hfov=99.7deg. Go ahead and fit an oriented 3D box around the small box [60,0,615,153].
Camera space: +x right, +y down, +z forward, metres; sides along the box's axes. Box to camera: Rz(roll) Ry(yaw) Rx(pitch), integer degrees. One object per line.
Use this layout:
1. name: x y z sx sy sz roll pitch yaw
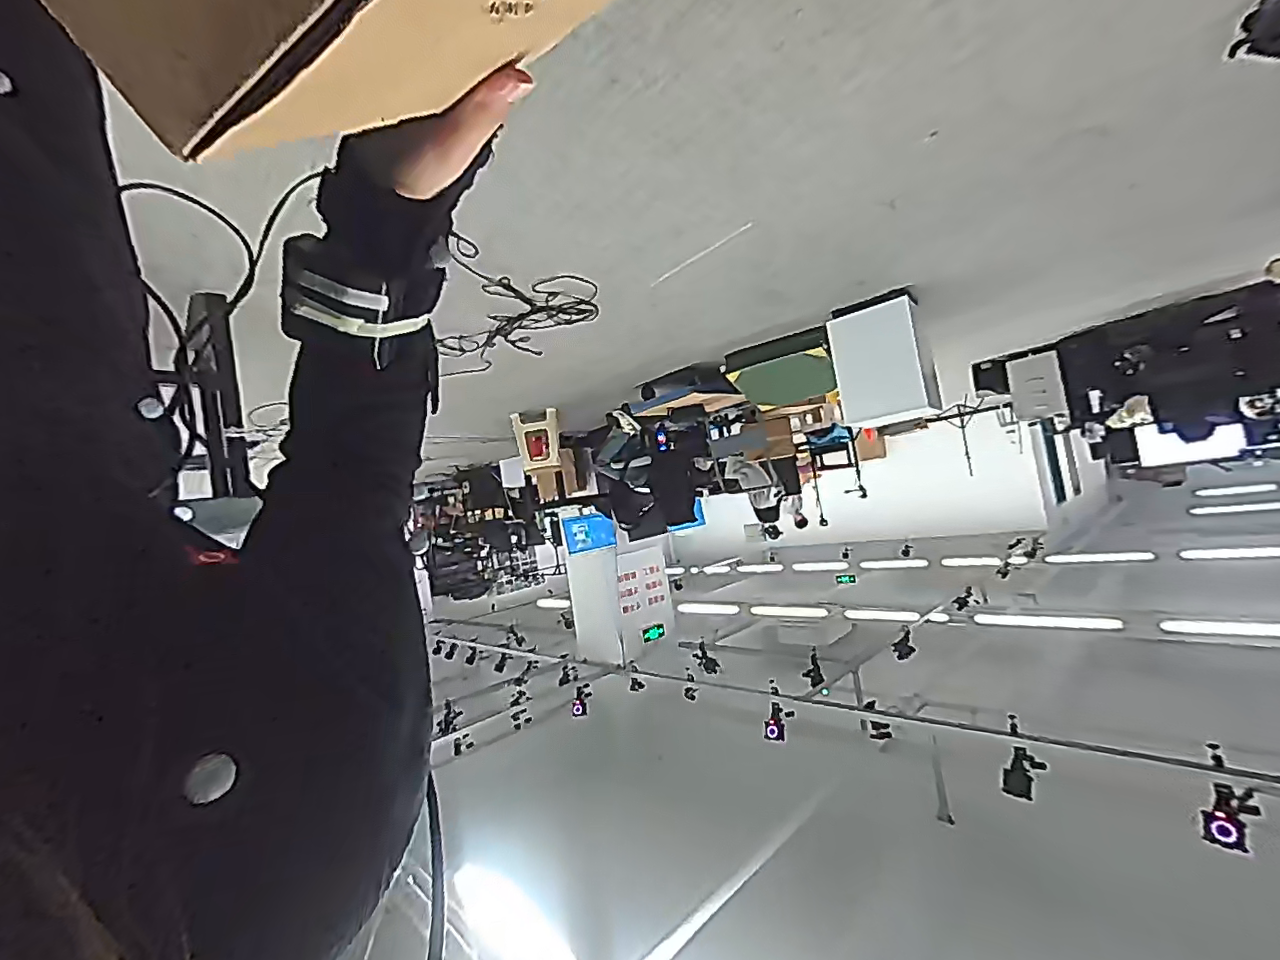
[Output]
1. small box: -0.072 -0.221 0.135 0.179 0.176 0.168 -14 -146 27
